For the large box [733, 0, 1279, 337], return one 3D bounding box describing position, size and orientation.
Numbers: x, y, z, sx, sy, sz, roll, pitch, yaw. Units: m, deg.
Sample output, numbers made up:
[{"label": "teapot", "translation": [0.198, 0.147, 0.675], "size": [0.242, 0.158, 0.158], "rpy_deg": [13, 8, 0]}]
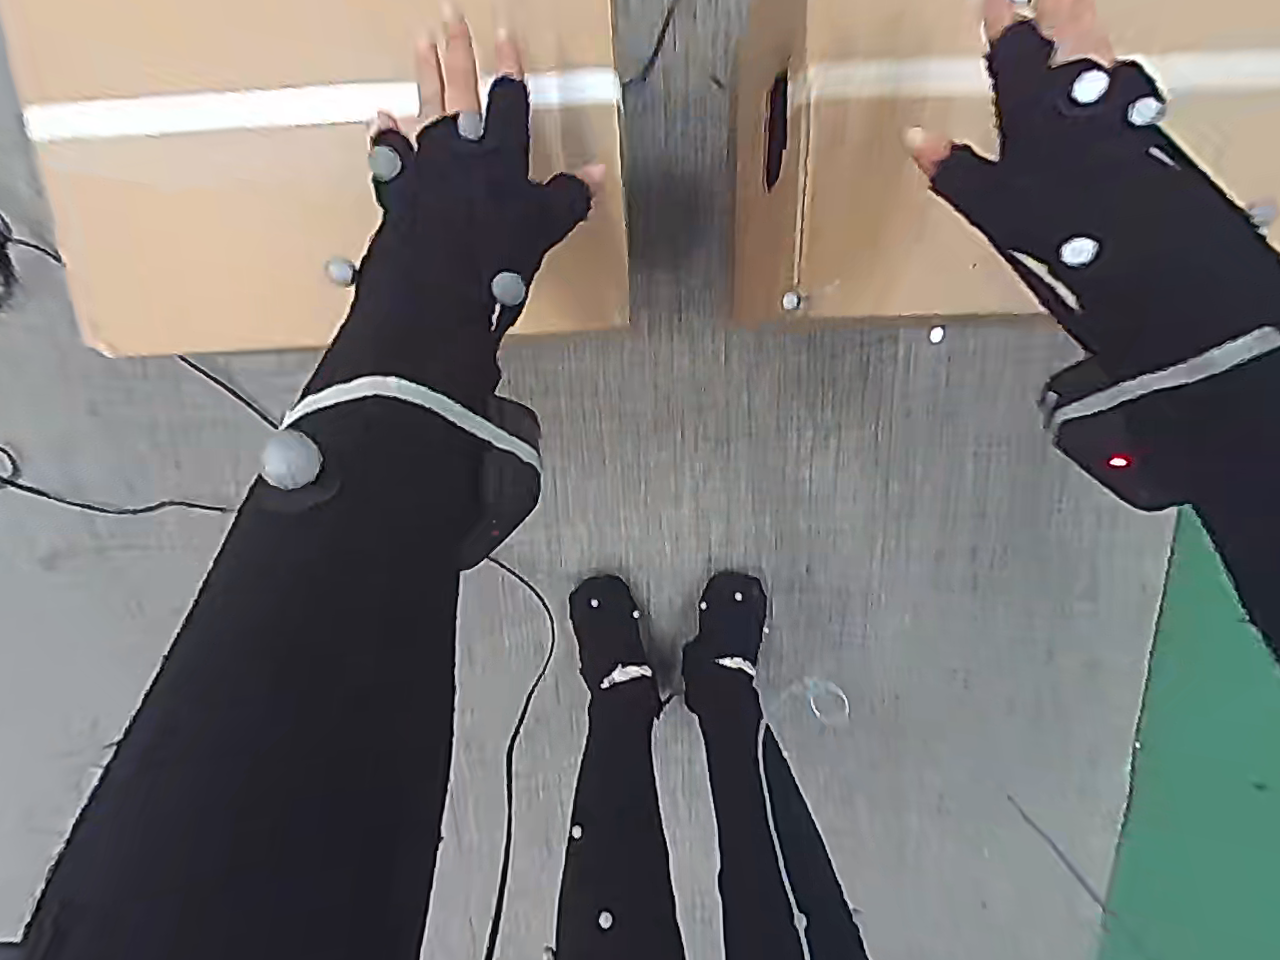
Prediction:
[{"label": "large box", "translation": [0.323, -0.310, 0.552], "size": [0.408, 0.320, 0.320], "rpy_deg": [-1, 103, 0]}]
